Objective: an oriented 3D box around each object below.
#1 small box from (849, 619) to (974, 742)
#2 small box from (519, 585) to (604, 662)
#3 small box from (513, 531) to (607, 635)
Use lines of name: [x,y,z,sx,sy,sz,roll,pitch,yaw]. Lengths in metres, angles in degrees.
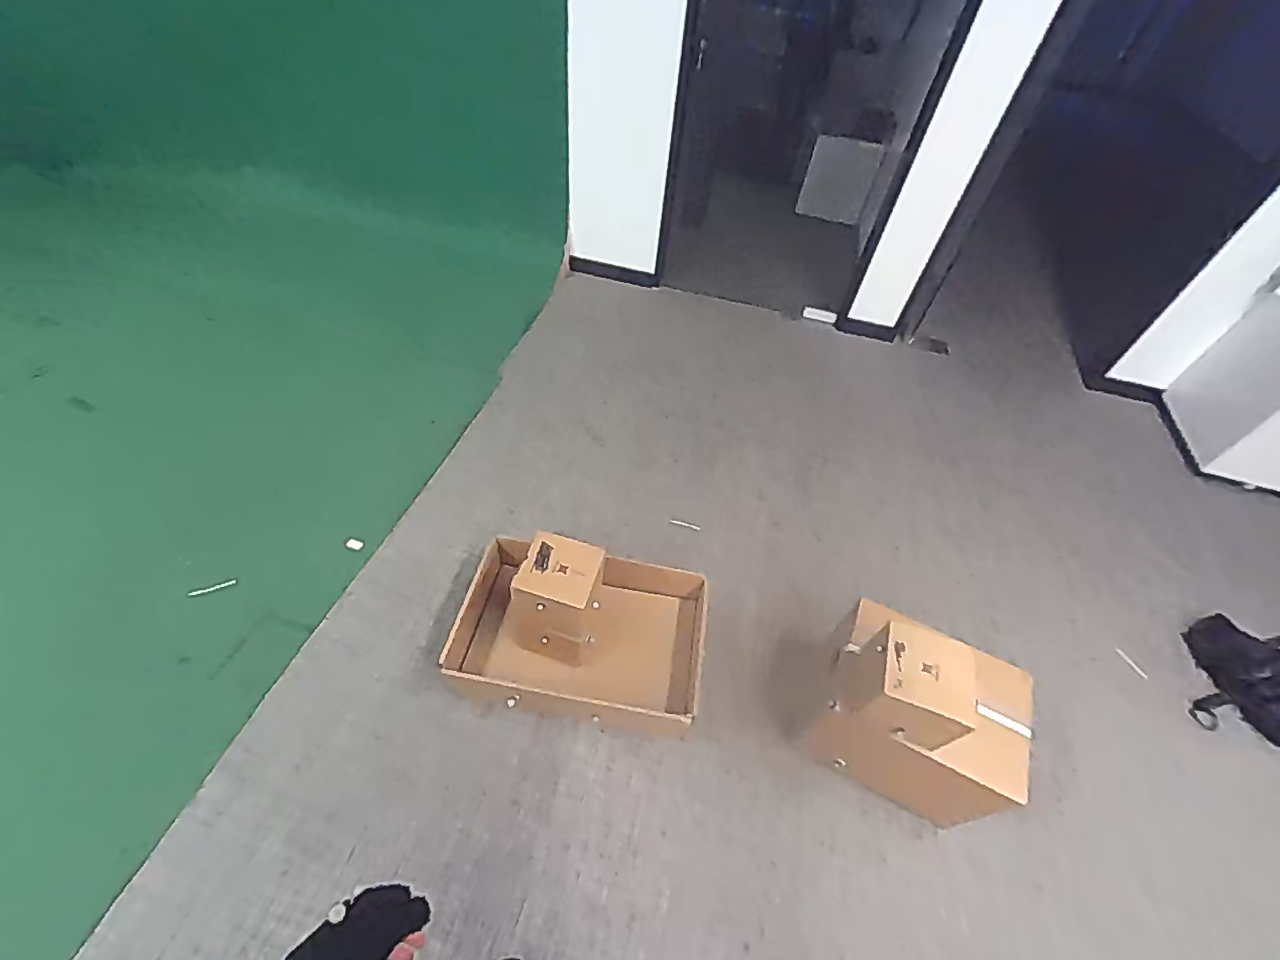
small box: [0.562,0.425,1.128,0.179,0.176,0.168,20,52,9]
small box: [-0.208,0.362,1.439,0.179,0.176,0.168,17,50,4]
small box: [-0.191,0.255,1.316,0.179,0.176,0.168,17,50,4]
